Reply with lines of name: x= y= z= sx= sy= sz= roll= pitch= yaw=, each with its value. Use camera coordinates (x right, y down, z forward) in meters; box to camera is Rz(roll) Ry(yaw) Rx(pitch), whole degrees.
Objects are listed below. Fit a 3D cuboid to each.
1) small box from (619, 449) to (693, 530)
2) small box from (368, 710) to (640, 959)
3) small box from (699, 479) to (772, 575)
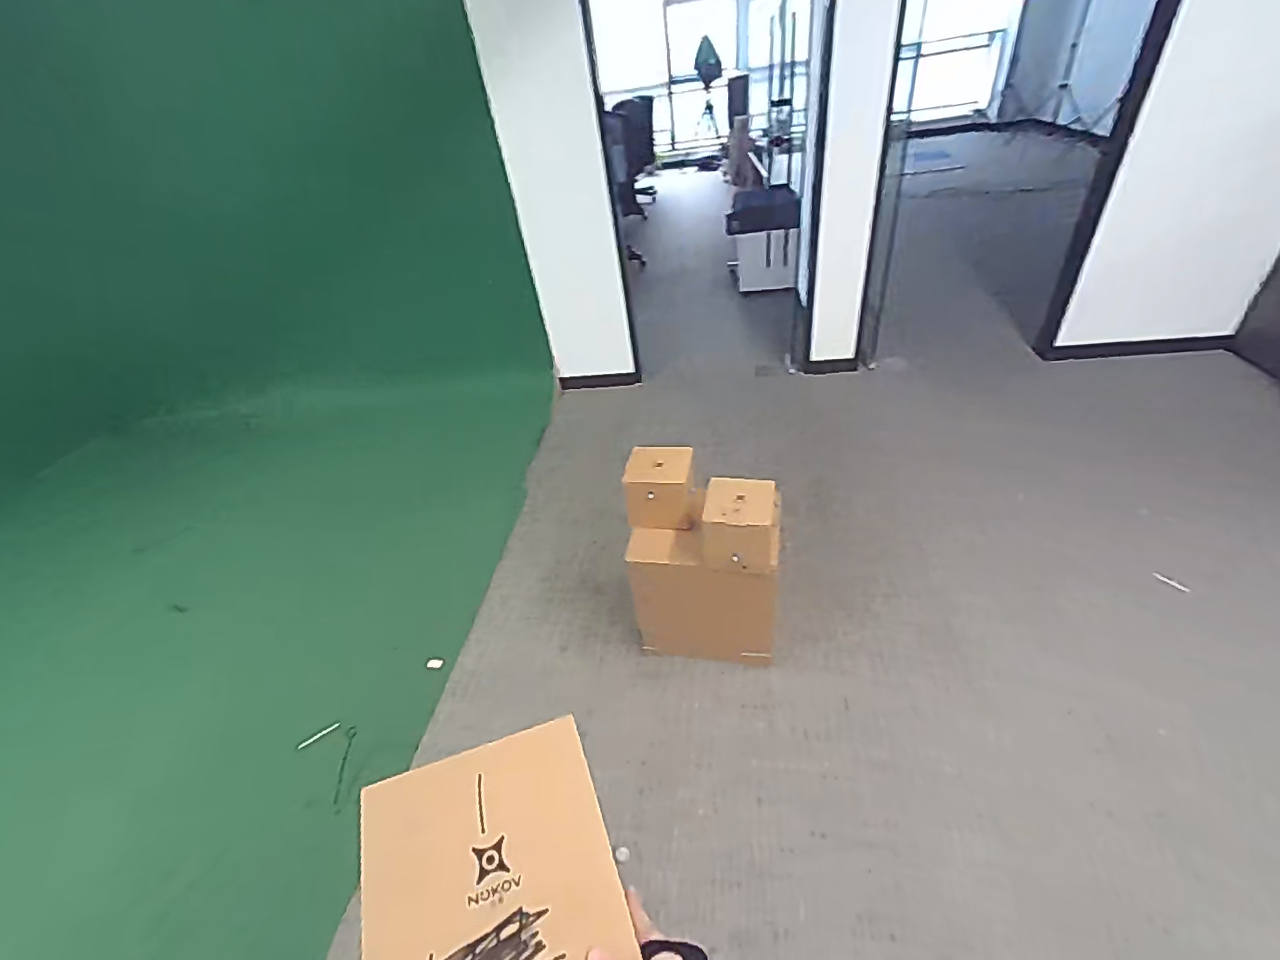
small box: x=0.053 y=0.028 z=1.541 sx=0.179 sy=0.176 sz=0.168 roll=1 pitch=38 yaw=13
small box: x=-0.103 y=0.323 z=0.430 sx=0.168 sy=0.176 sz=0.179 roll=-13 pitch=45 yaw=-16
small box: x=0.247 y=0.118 z=1.388 sx=0.168 sy=0.176 sz=0.179 roll=3 pitch=39 yaw=15
